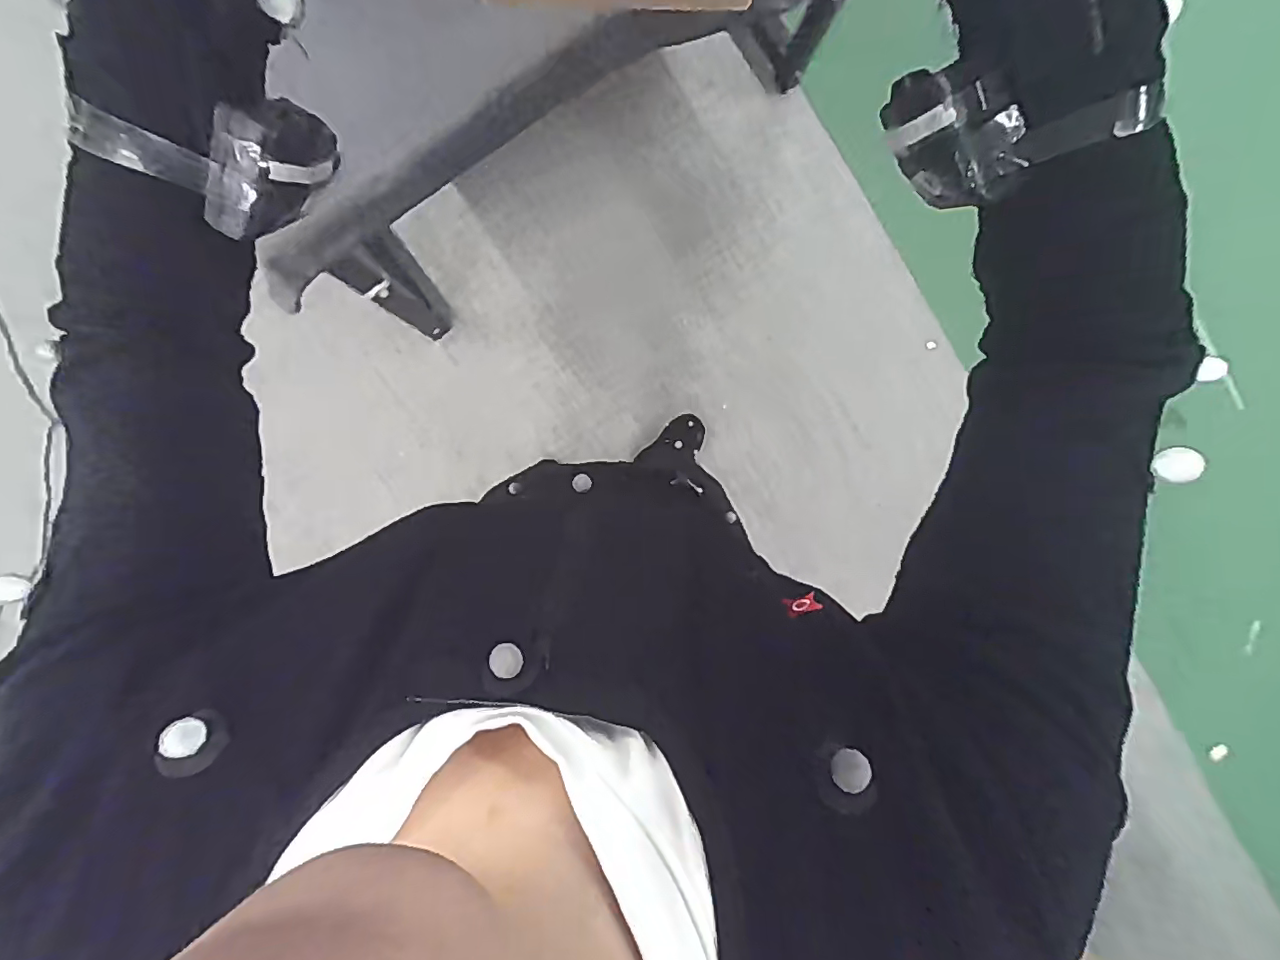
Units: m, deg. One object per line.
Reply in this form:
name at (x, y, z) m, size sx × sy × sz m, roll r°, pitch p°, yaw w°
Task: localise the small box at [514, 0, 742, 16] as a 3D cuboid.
small box at (0.001, -0.381, 0.272) m, size 0.179 × 0.176 × 0.168 m, roll 0°, pitch 96°, yaw 0°
